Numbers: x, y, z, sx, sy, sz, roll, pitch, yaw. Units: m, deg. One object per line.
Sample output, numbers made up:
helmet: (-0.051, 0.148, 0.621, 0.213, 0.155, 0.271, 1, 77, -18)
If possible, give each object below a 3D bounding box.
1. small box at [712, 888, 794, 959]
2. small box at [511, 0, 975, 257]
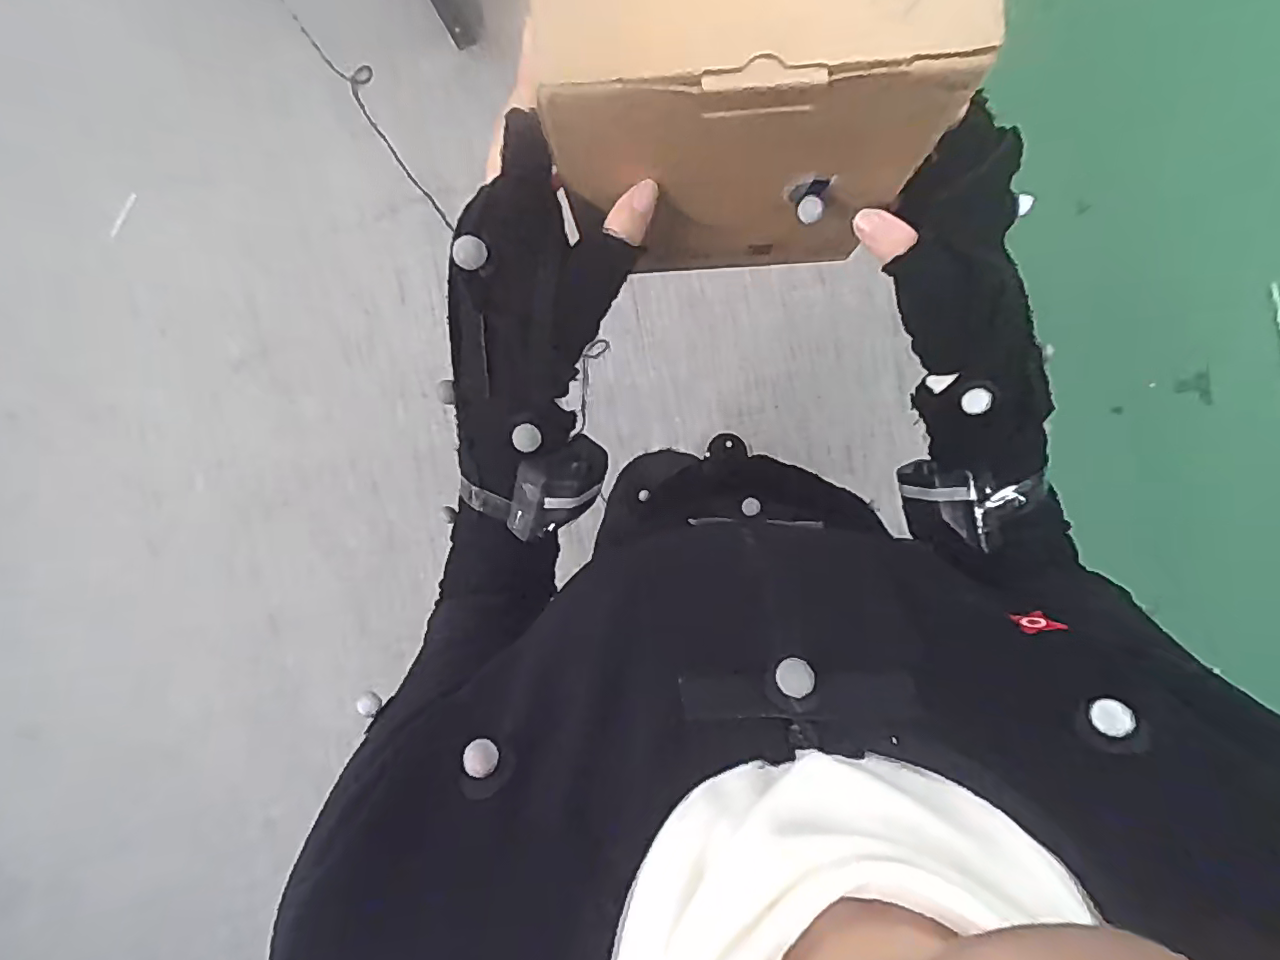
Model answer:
small box: (0.277, 1.144, 1.312, 0.179, 0.176, 0.168, -16, 91, 4)
small box: (0.037, -0.228, 0.274, 0.168, 0.176, 0.179, -2, 87, 1)
